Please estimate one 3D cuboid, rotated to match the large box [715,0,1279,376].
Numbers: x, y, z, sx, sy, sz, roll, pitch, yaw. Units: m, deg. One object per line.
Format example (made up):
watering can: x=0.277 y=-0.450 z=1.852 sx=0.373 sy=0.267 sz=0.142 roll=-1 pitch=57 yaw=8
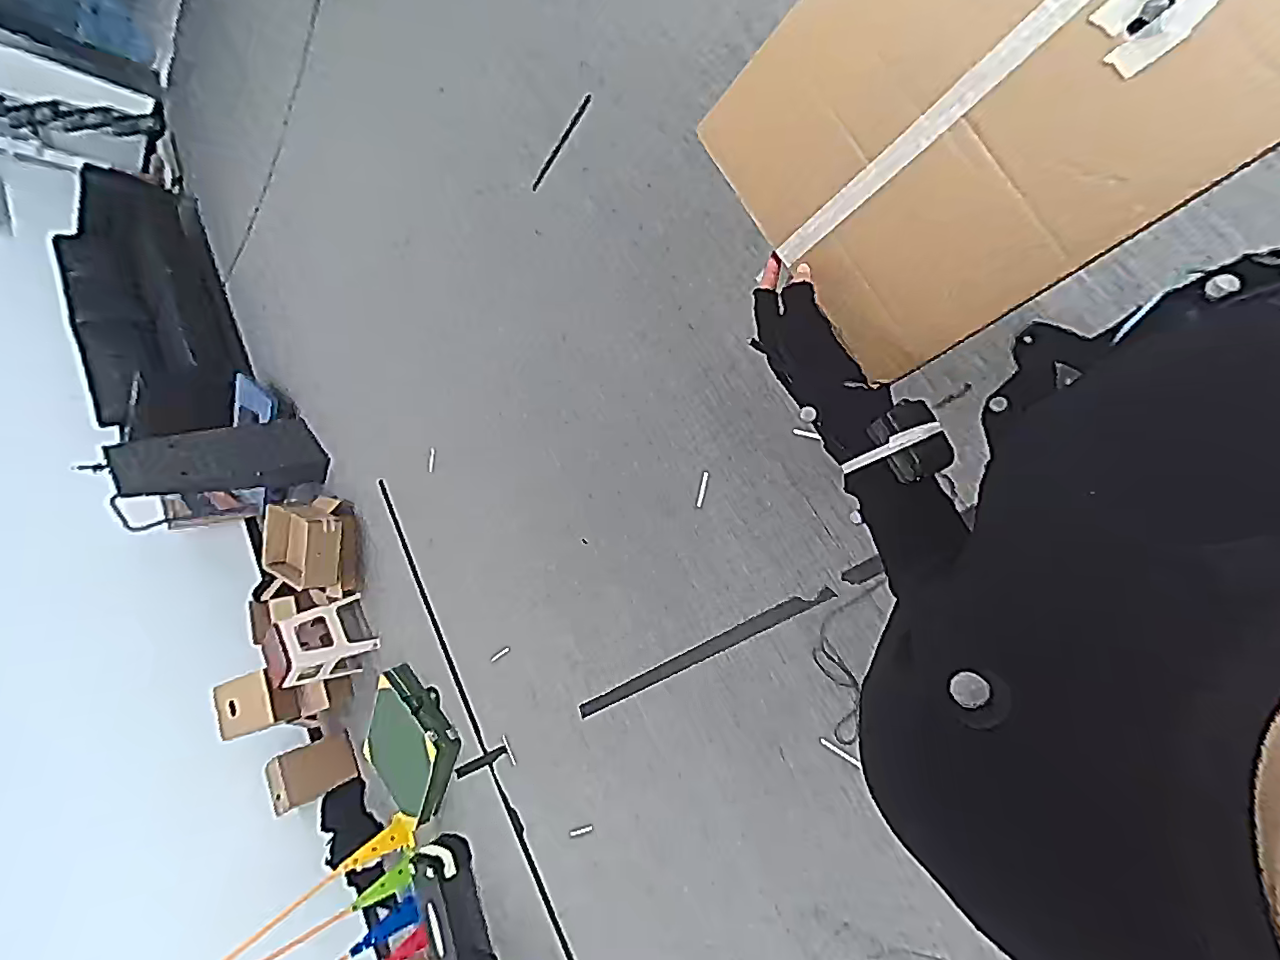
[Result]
large box: x=0.358 y=-0.355 z=0.523 sx=0.408 sy=0.320 sz=0.320 roll=-36 pitch=84 yaw=39
